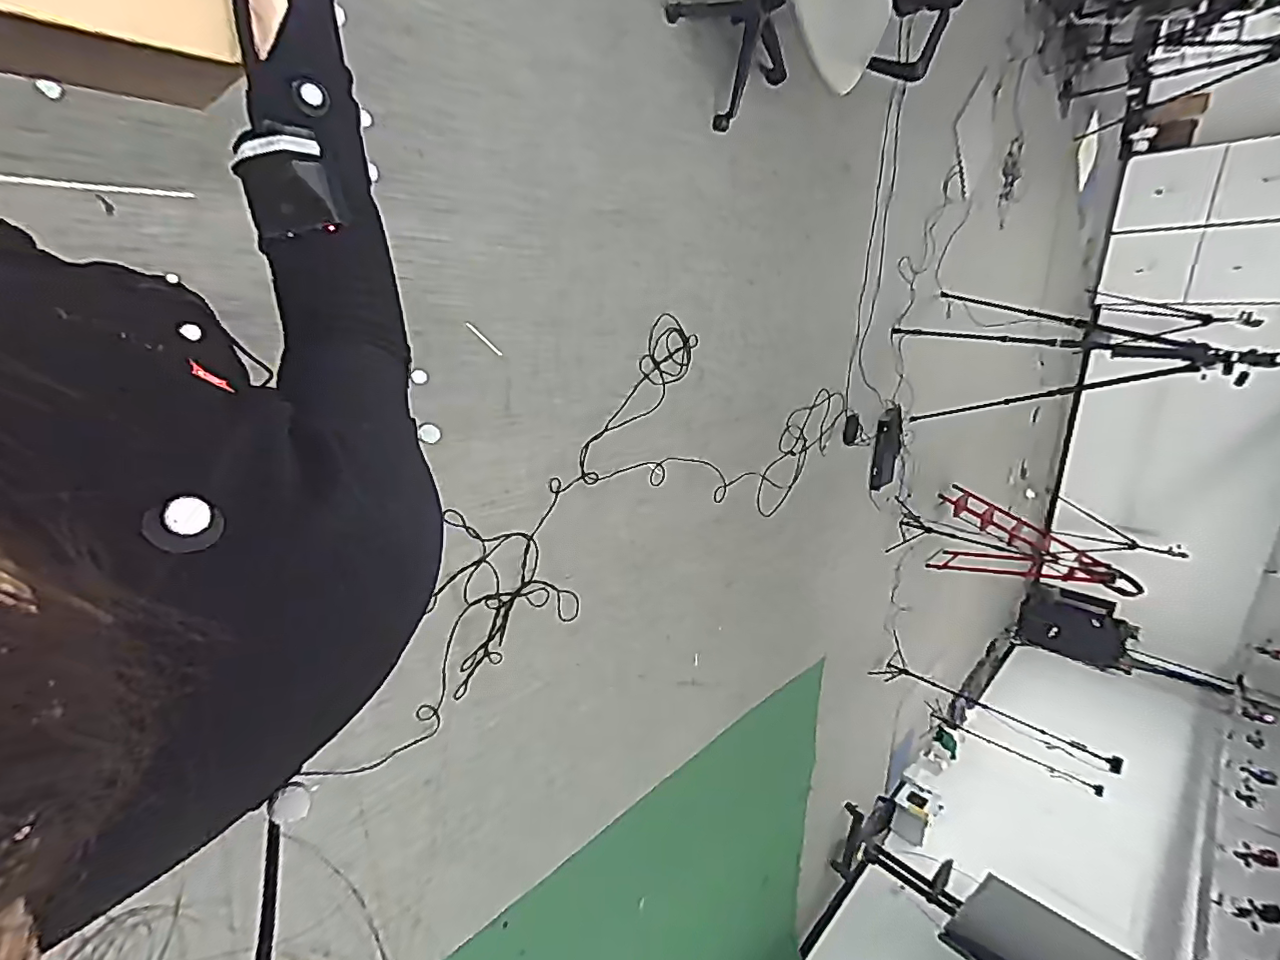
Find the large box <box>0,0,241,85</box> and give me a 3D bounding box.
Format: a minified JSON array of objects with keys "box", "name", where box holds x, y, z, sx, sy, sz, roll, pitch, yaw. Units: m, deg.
[{"box":[-0.508,-0.453,0.296,0.408,0.320,0.320,-14,121,-37],"name":"large box"}]
